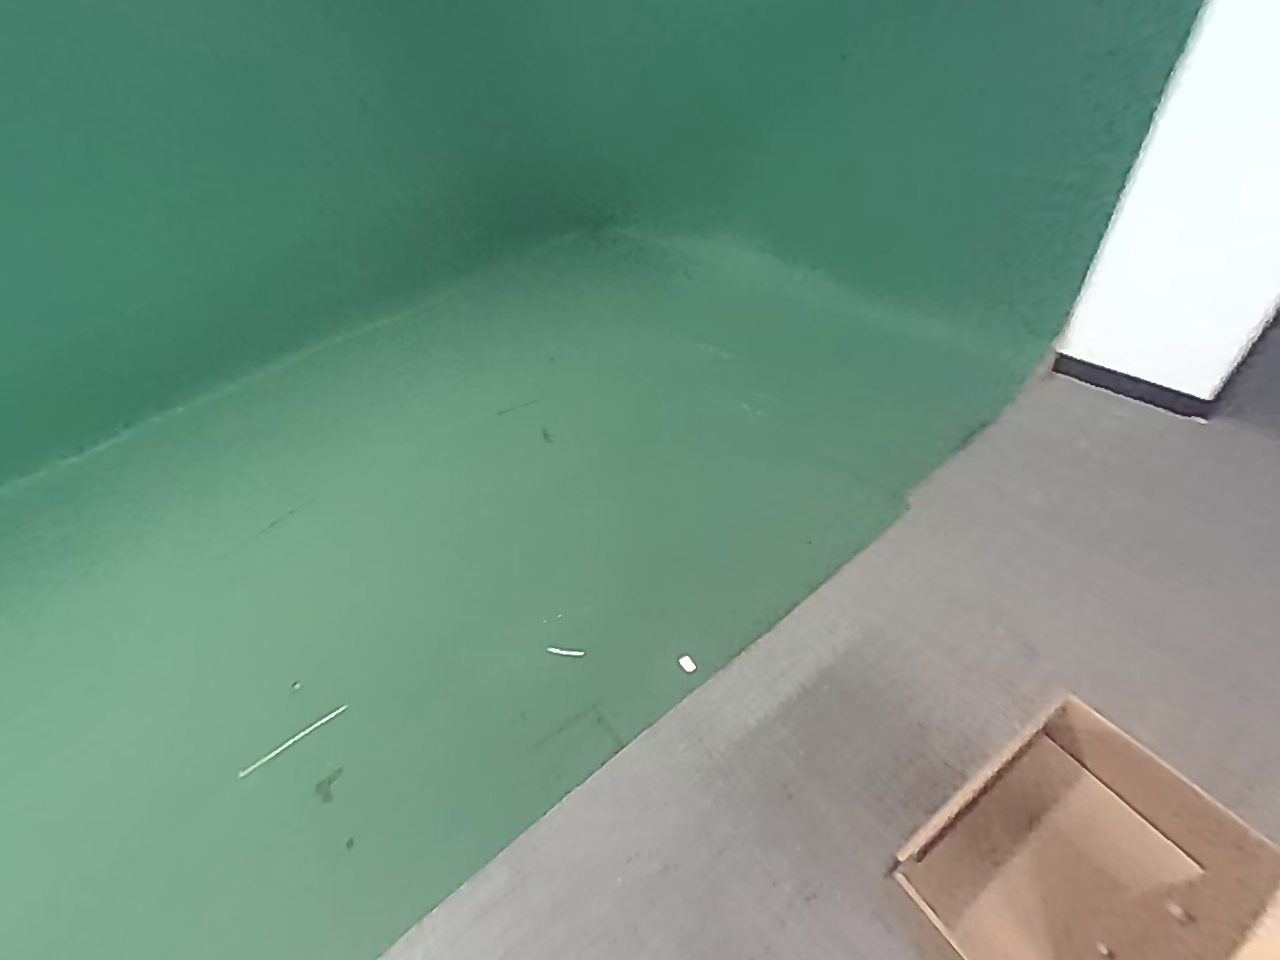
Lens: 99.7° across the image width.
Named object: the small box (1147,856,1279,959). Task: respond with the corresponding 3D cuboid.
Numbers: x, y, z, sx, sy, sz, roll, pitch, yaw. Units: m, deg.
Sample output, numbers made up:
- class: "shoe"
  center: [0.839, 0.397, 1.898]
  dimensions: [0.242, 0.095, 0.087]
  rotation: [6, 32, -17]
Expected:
- class: "small box"
  center: [0.643, 0.504, 0.514]
  dimensions: [0.179, 0.176, 0.168]
  rotation: [-32, 49, -16]
